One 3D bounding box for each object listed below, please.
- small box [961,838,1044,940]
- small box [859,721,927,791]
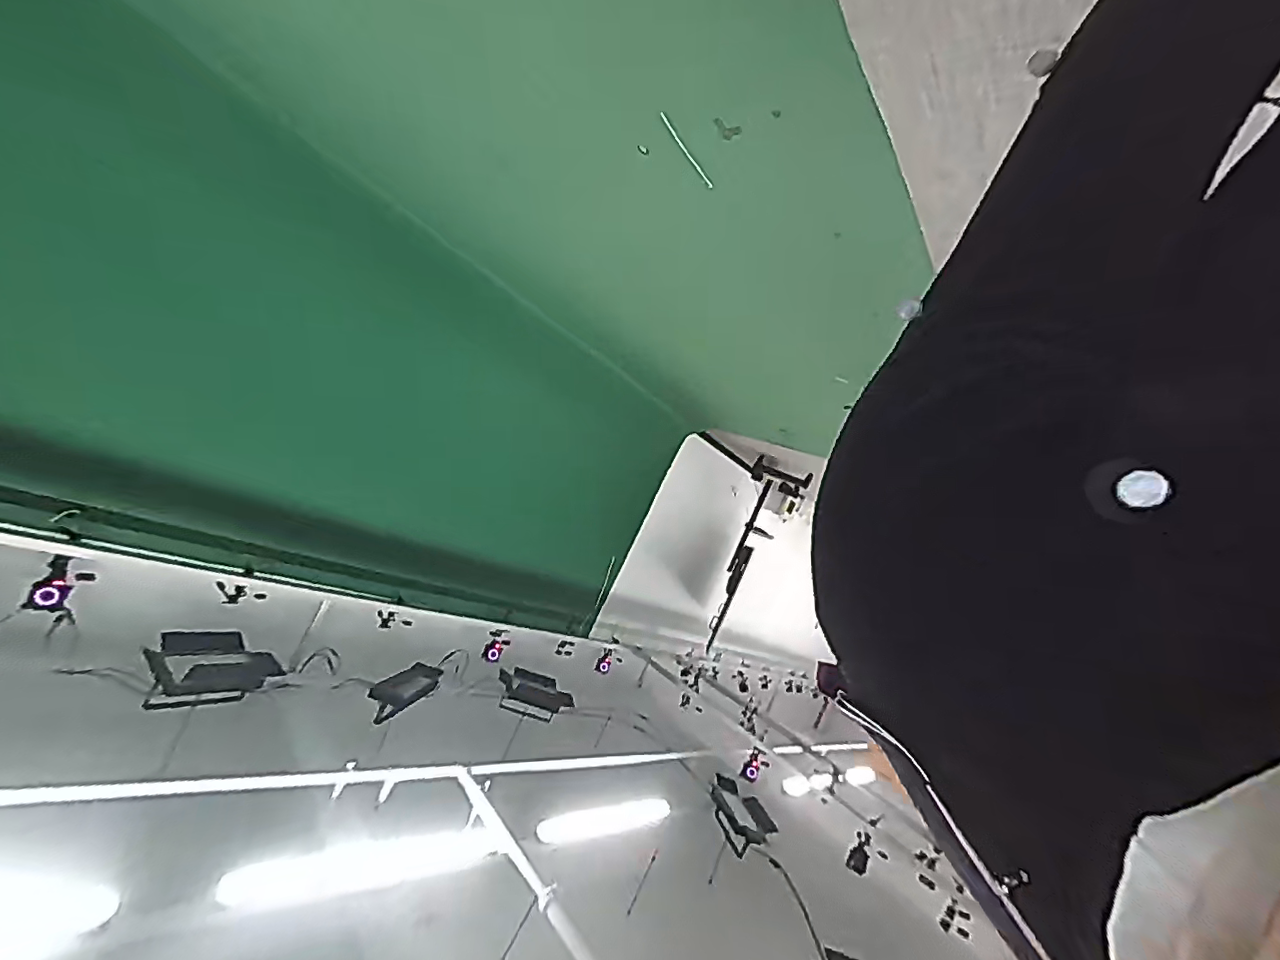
[{"bbox_3d":[1.162,1.295,1.724,0.179,0.176,0.168,24,178,43],"label":"small box"},{"bbox_3d":[0.951,1.026,2.027,0.168,0.176,0.179,23,177,40],"label":"small box"}]
